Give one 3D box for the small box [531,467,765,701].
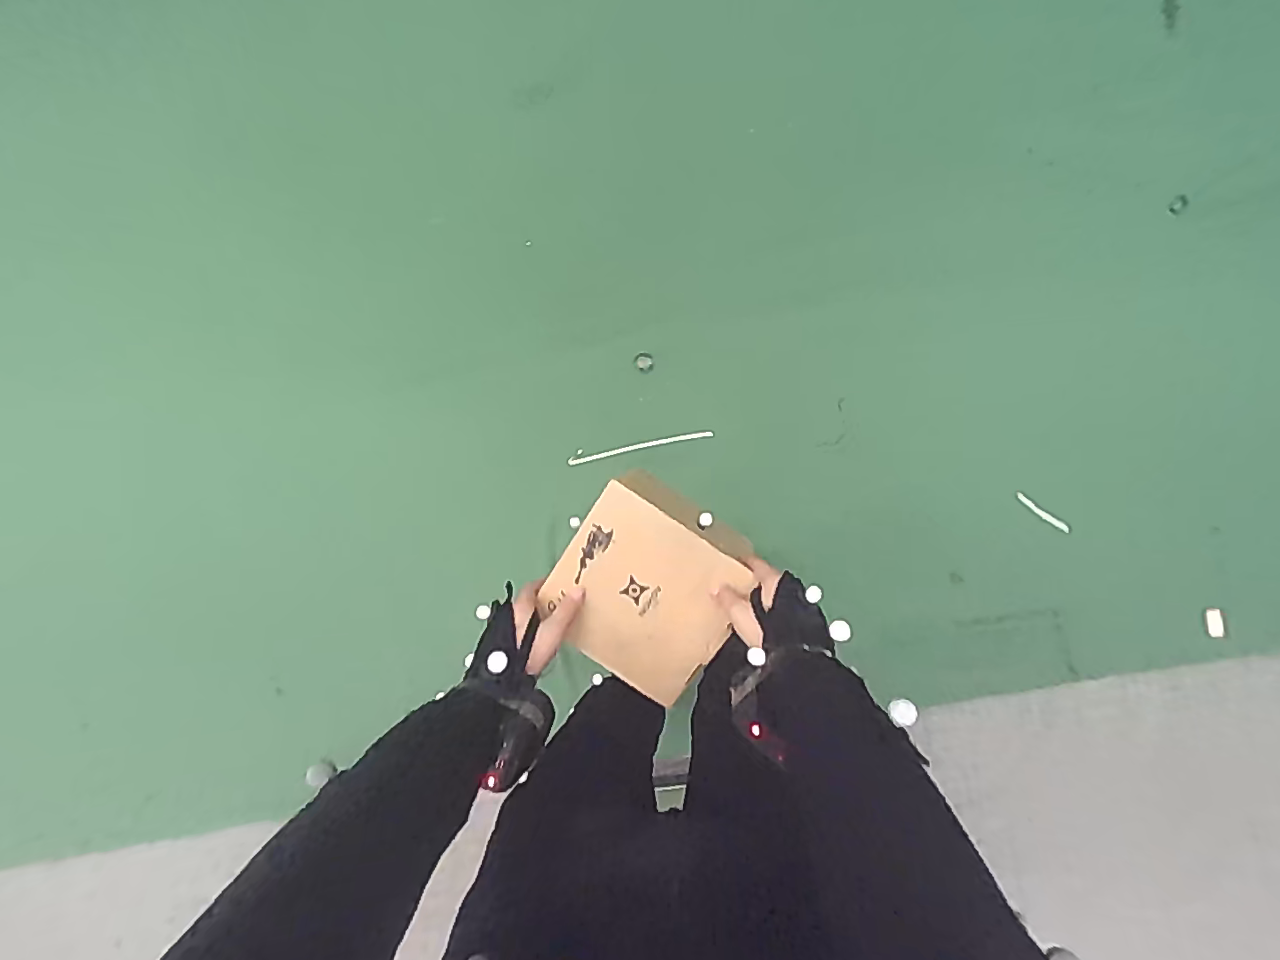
[{"bbox_3d":[0.014,0.098,0.606,0.179,0.176,0.168,35,99,1],"label":"small box"}]
